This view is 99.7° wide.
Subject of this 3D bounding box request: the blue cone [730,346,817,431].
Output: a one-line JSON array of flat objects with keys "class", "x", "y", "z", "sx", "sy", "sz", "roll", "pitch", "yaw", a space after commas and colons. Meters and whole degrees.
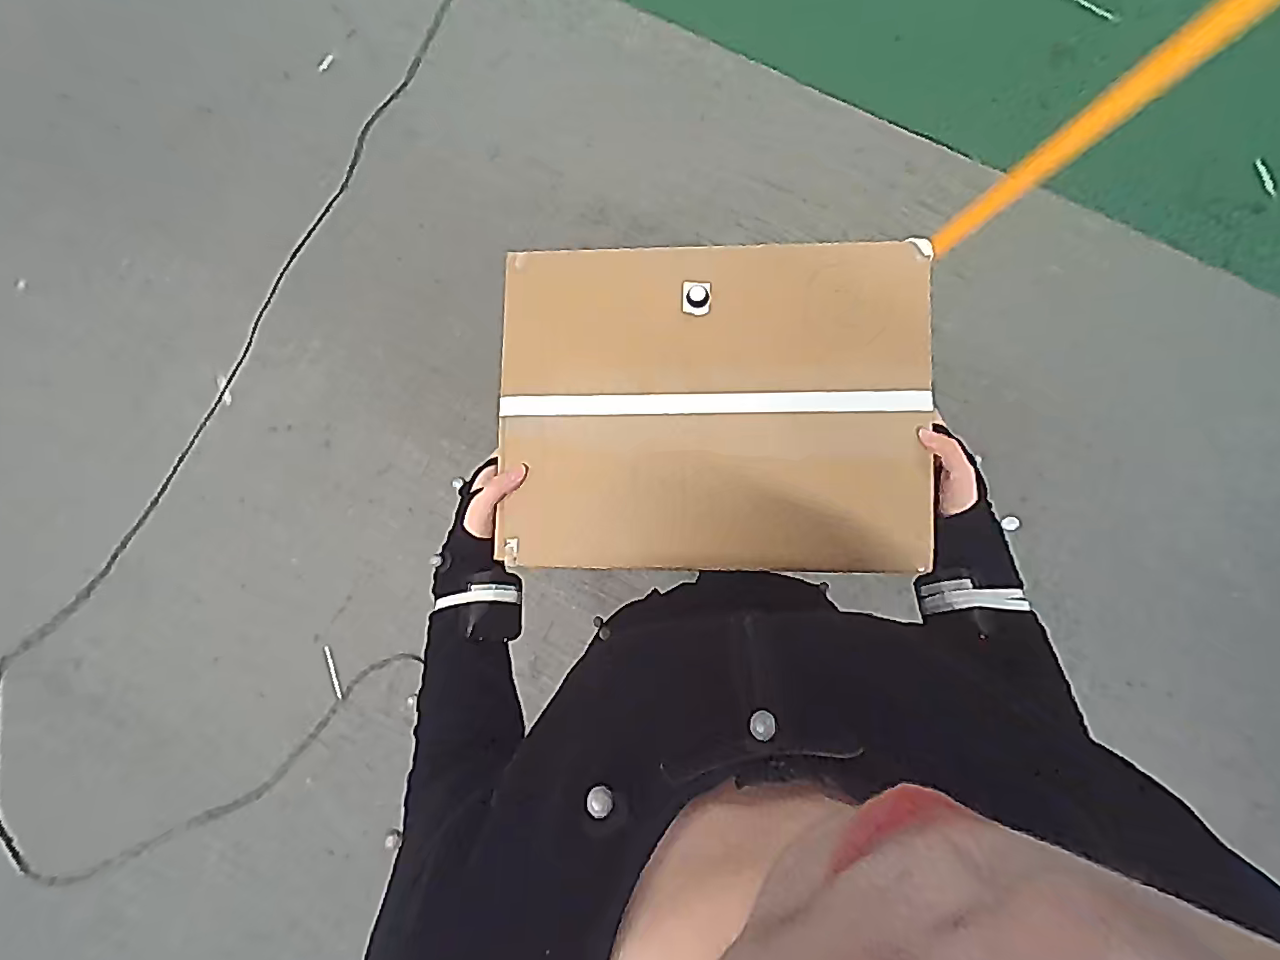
[{"class": "blue cone", "x": 0.372, "y": -0.269, "z": 1.375, "sx": 0.193, "sy": 0.380, "sz": 0.192, "roll": 25, "pitch": 84, "yaw": 2}]
